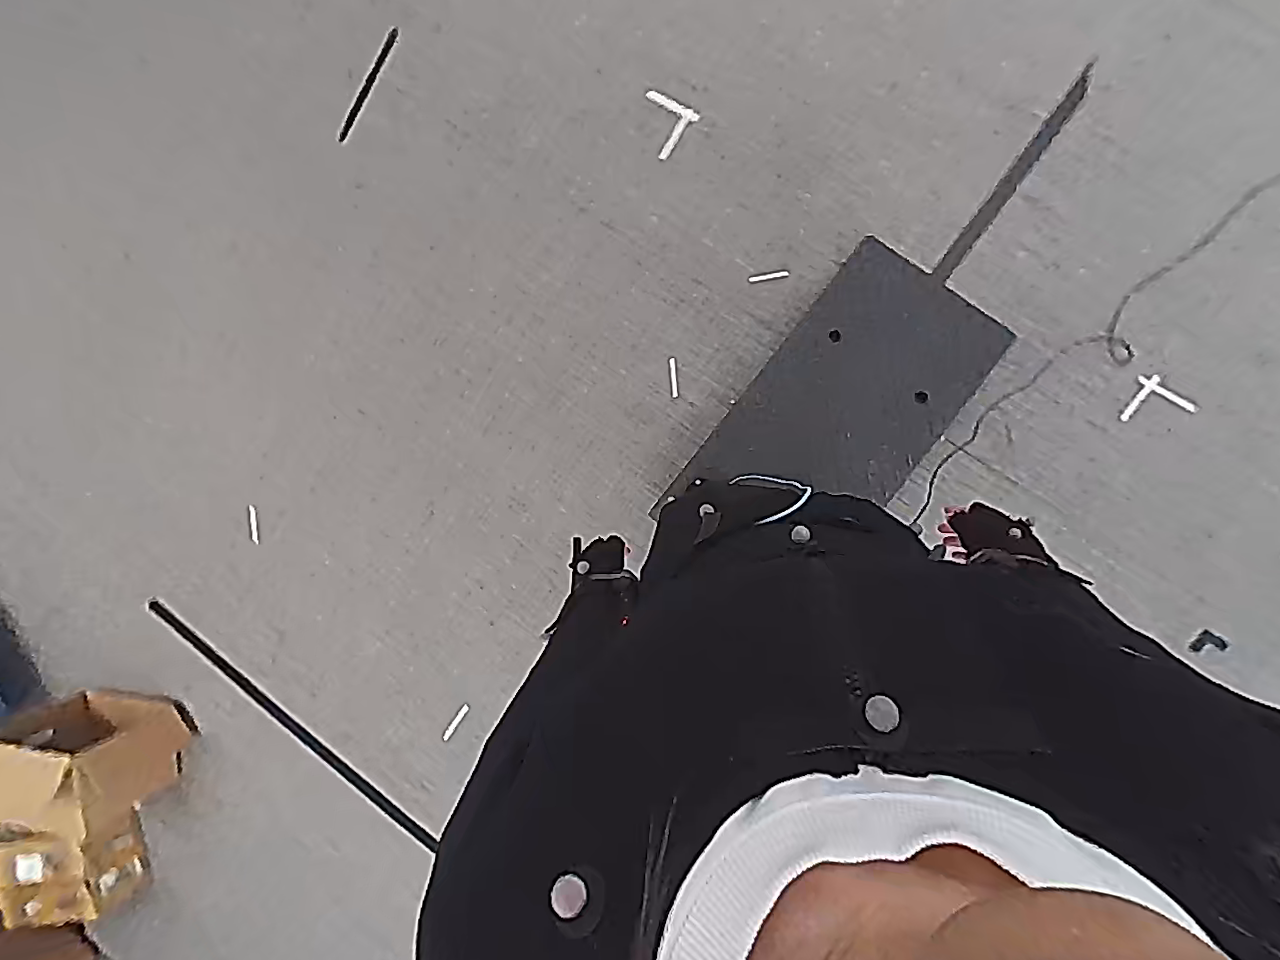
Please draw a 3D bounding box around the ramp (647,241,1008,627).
[{"bbox_3d":[0.506,-0.144,1.479,0.509,0.206,0.991,36,98,8],"label":"ramp"}]
